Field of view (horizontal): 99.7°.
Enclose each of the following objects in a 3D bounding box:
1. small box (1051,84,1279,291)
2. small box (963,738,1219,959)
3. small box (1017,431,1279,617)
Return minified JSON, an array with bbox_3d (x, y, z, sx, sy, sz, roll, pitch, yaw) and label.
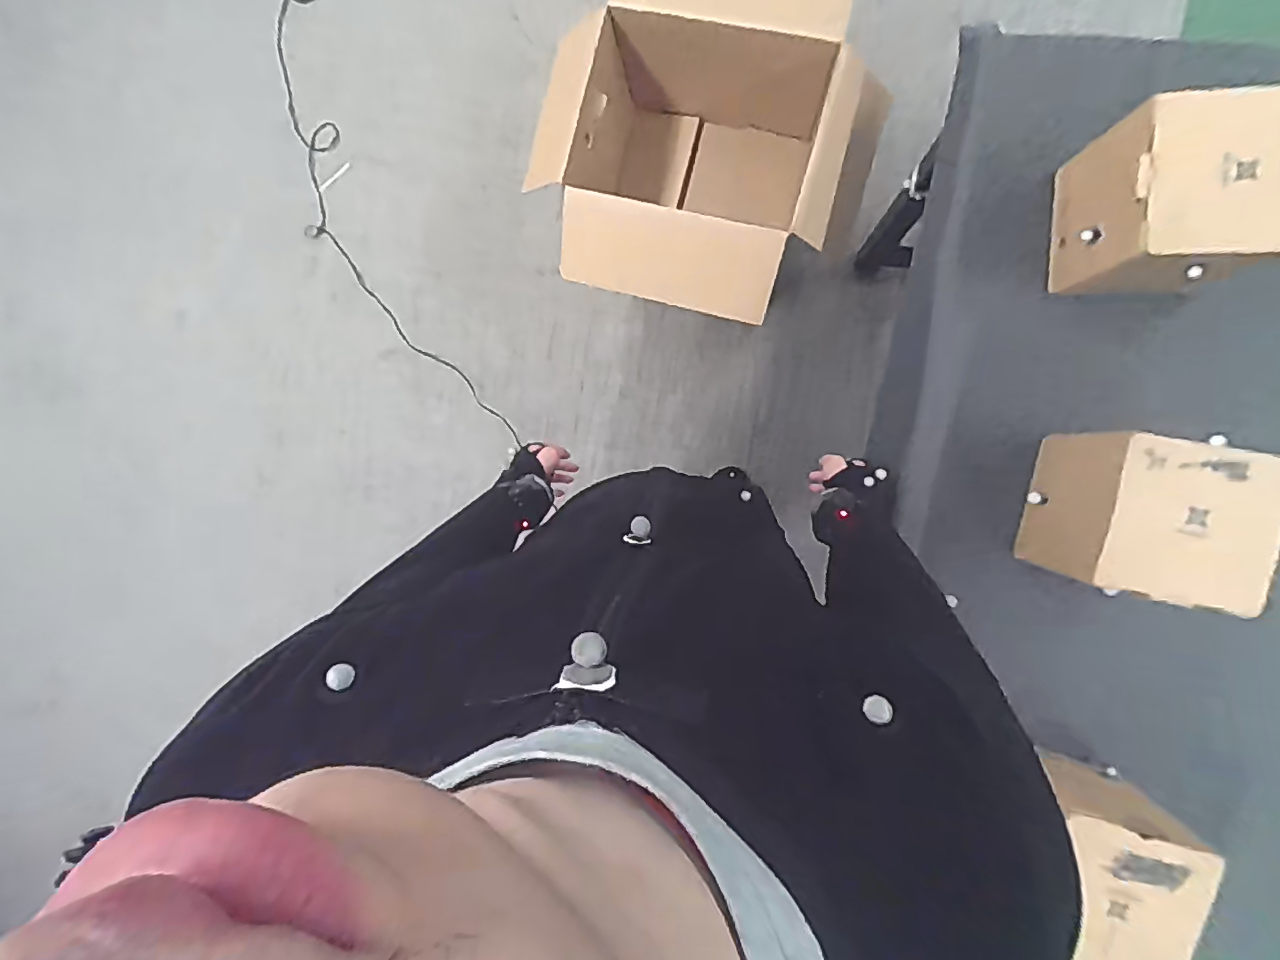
[{"bbox_3d":[0.629,-0.327,0.637,0.179,0.176,0.168,1,95,6],"label":"small box"},{"bbox_3d":[0.550,0.469,0.691,0.168,0.176,0.179,16,96,8],"label":"small box"},{"bbox_3d":[0.603,0.041,0.661,0.168,0.176,0.179,12,96,7],"label":"small box"}]
